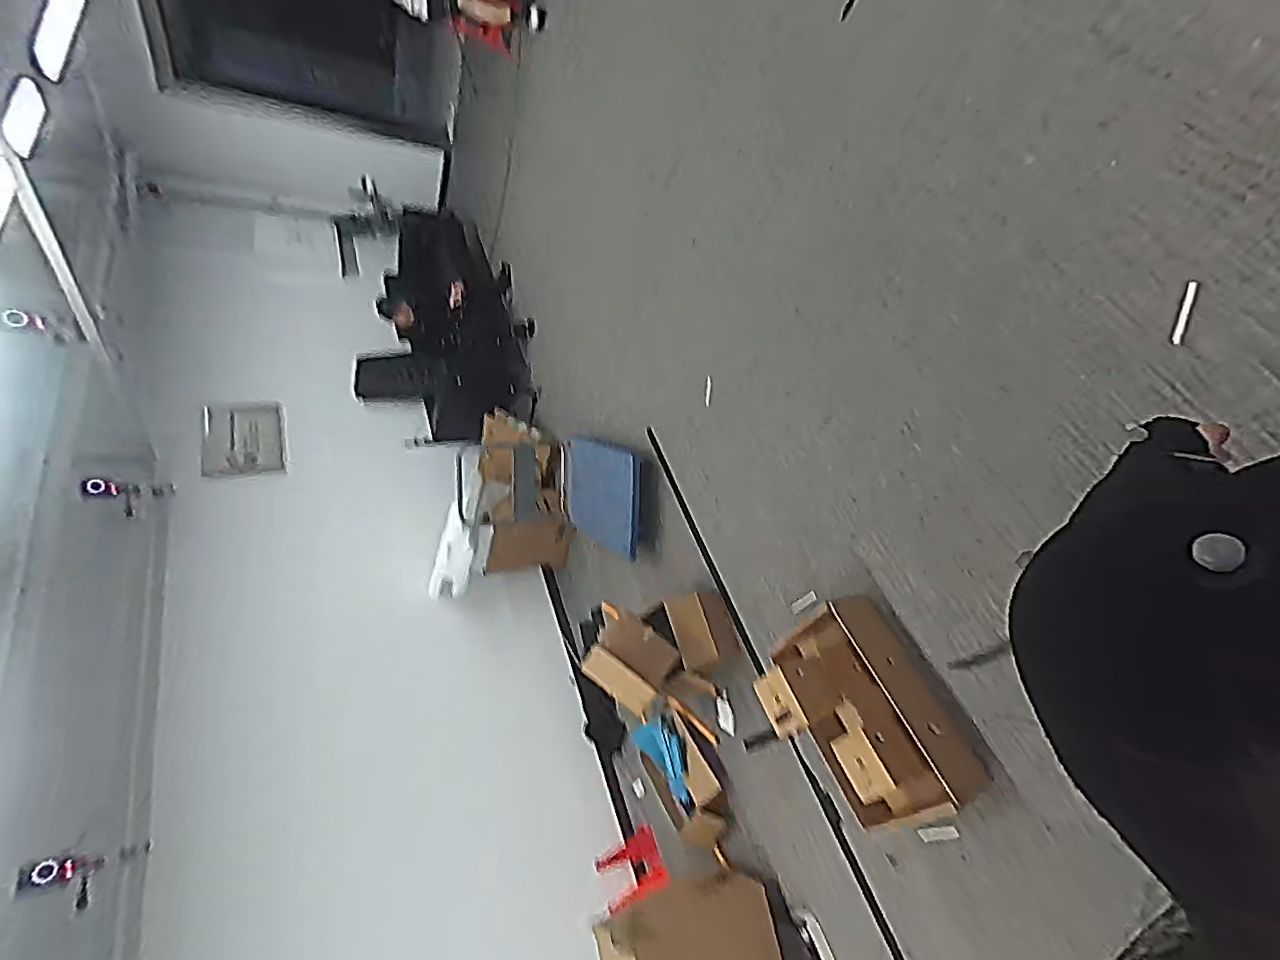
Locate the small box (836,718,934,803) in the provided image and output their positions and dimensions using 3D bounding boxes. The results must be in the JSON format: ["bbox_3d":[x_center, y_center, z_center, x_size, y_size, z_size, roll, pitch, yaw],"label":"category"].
[{"bbox_3d":[0.752,0.857,1.666,0.179,0.176,0.168,63,145,34],"label":"small box"}]

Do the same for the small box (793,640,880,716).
[{"bbox_3d":[0.656,0.659,1.805,0.168,0.176,0.179,63,143,31],"label":"small box"}]
